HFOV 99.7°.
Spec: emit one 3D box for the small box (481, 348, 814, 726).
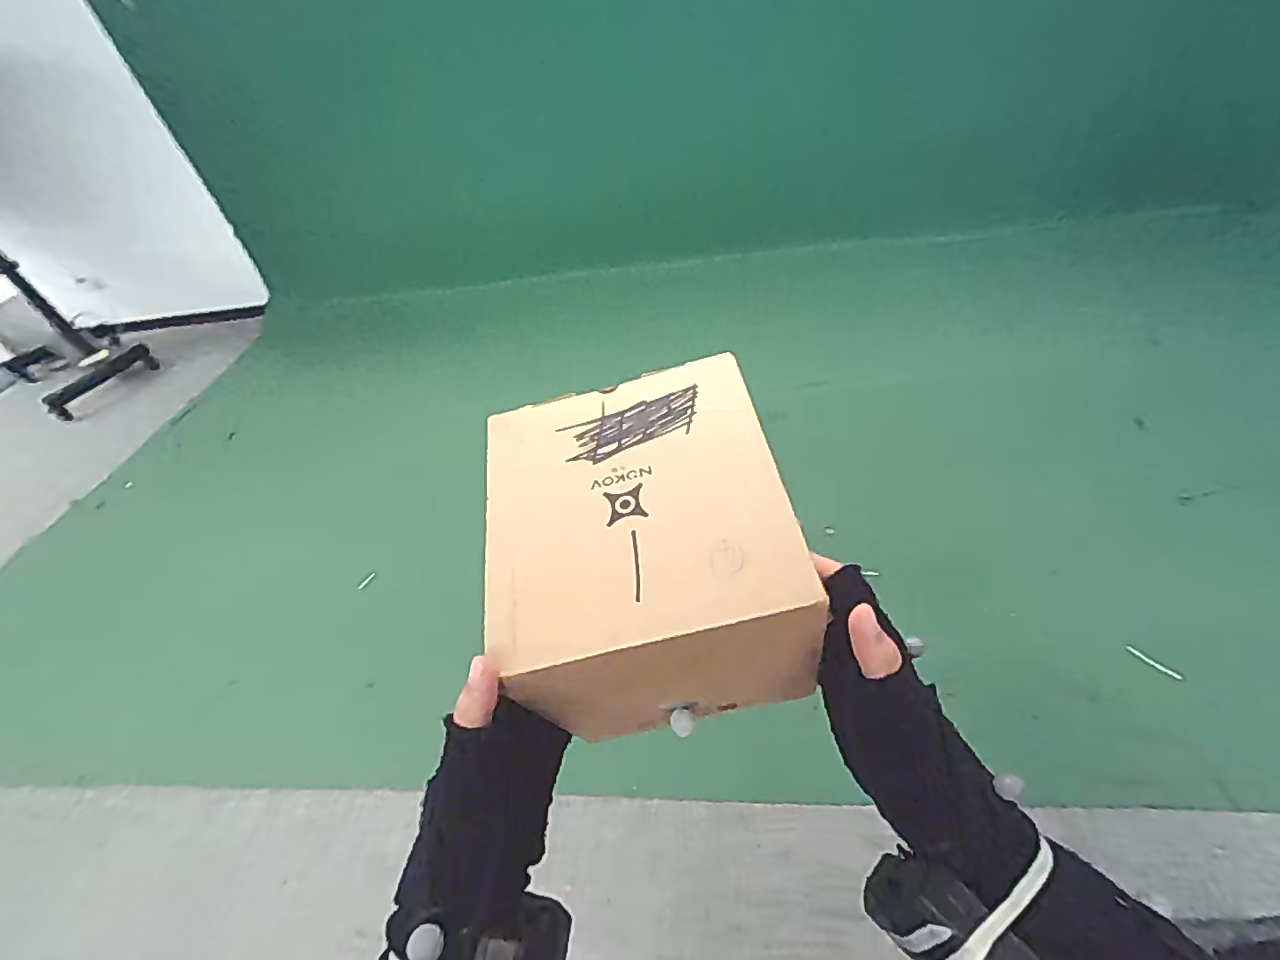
[{"bbox_3d":[0.006,0.046,0.369,0.168,0.176,0.179,-15,53,5],"label":"small box"}]
